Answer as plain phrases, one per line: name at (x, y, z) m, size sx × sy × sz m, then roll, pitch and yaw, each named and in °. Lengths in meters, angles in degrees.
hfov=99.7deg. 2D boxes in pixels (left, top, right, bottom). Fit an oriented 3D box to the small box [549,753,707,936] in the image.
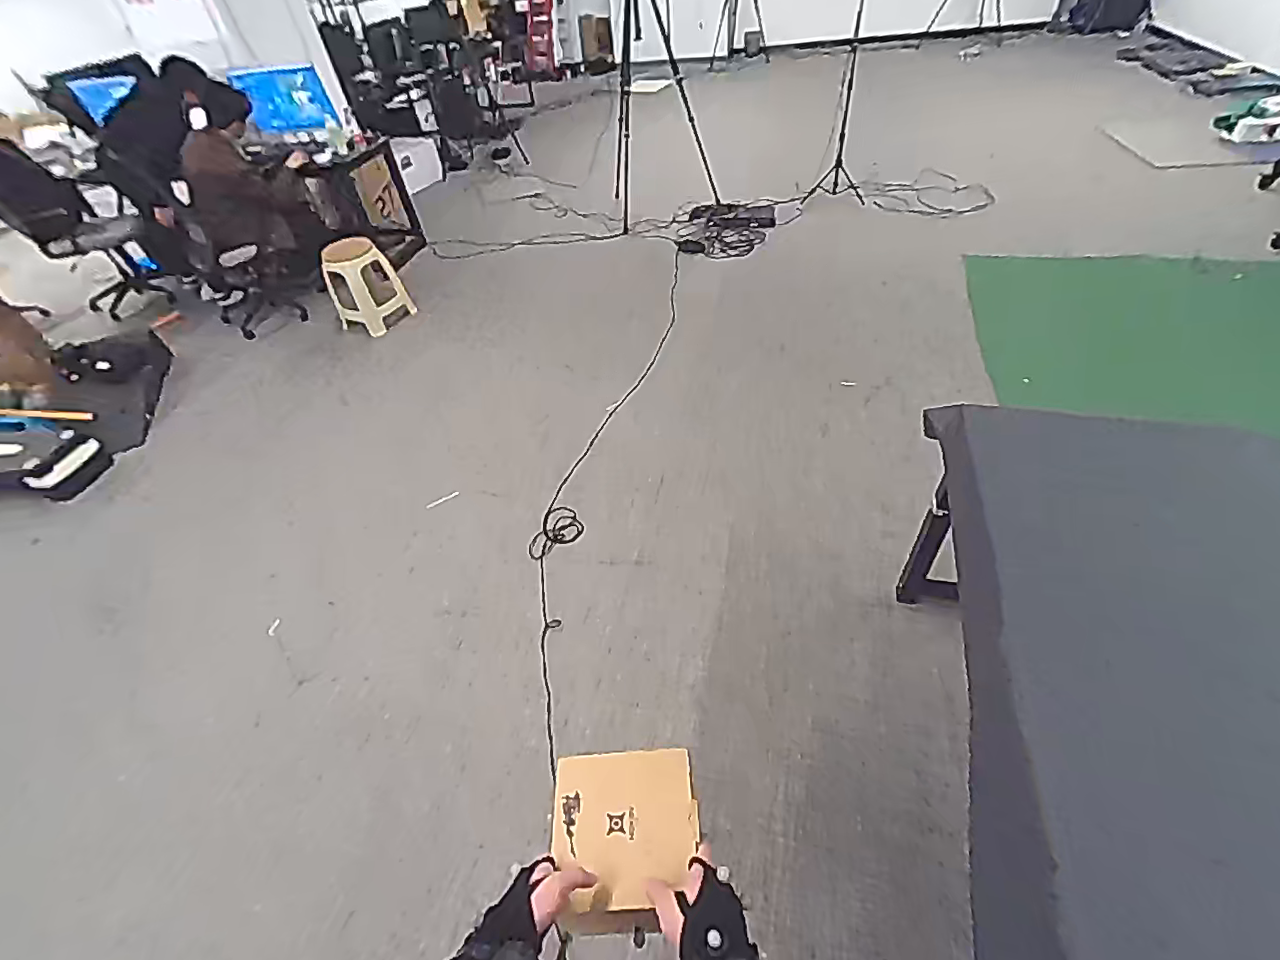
small box at (-0.008, 0.473, 0.702) m, size 0.179 × 0.176 × 0.168 m, roll -6°, pitch 43°, yaw 4°
